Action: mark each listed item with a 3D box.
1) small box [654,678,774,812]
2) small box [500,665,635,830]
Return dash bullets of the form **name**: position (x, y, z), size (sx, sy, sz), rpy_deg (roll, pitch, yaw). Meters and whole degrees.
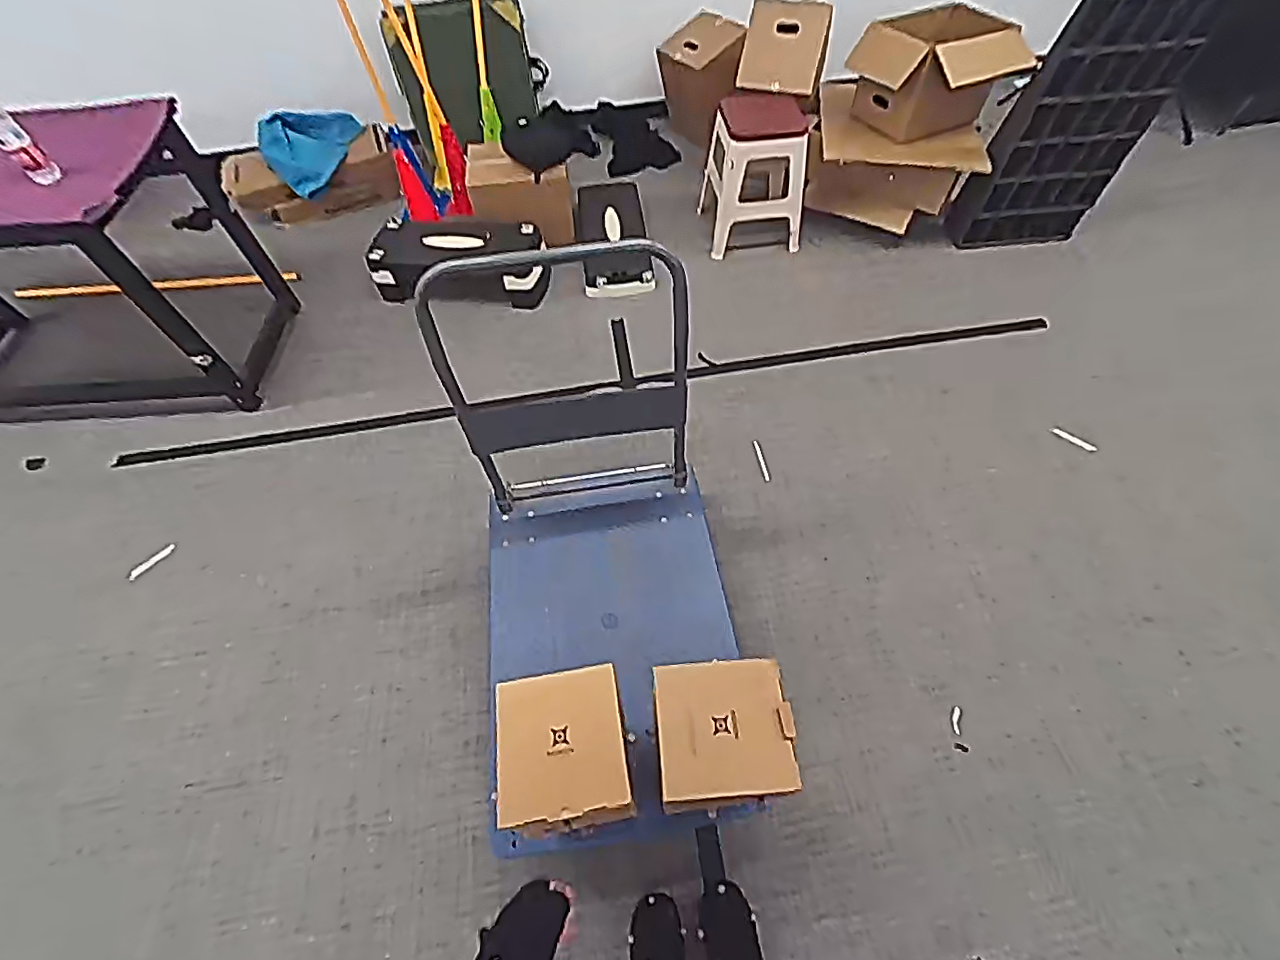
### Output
- **small box**: position (0.114, 0.453, 0.920), size (0.168, 0.176, 0.179), rpy_deg (-7, 58, -2)
- **small box**: position (-0.101, 0.387, 0.776), size (0.168, 0.176, 0.179), rpy_deg (-9, 58, -4)
